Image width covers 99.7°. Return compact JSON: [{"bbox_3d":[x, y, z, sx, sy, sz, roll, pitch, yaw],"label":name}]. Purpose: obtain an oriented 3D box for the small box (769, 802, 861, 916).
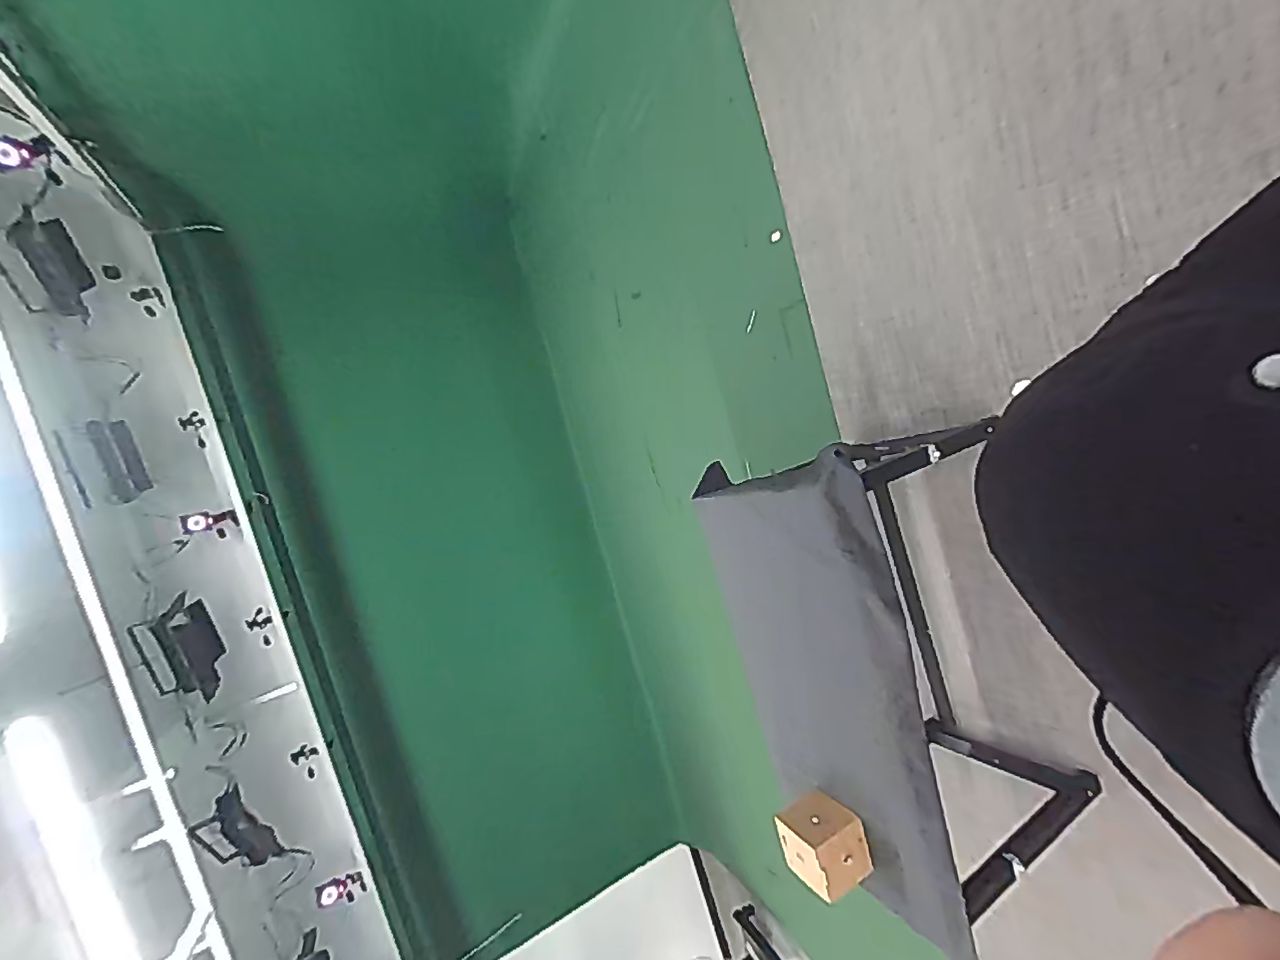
[{"bbox_3d":[0.498,1.053,1.523,0.179,0.176,0.168,-7,98,64],"label":"small box"}]
